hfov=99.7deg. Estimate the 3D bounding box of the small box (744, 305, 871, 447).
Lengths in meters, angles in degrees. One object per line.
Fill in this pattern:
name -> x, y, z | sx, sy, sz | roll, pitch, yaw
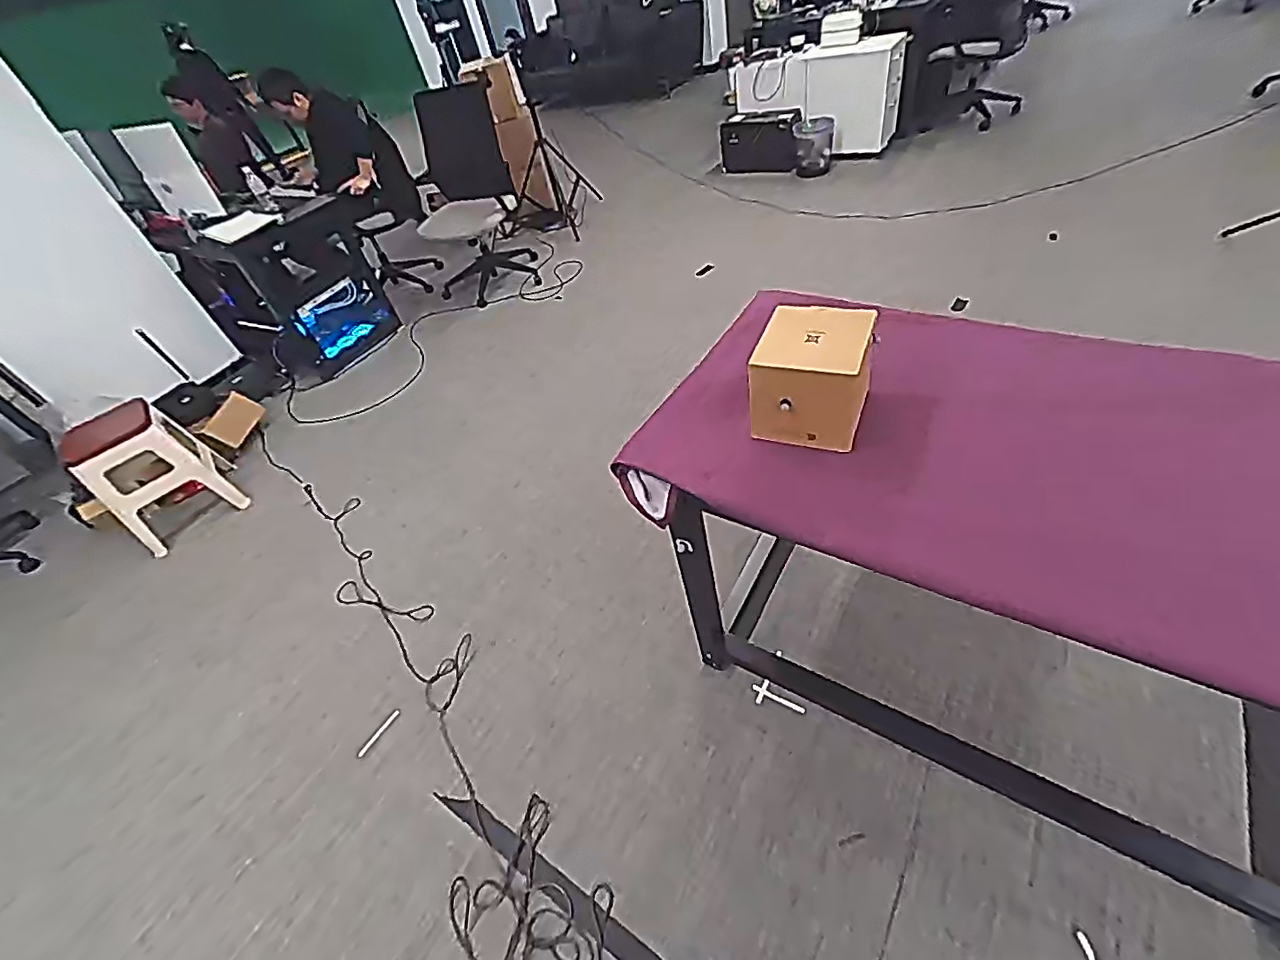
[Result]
small box -> 0.288, -0.178, 0.923 | 0.168, 0.176, 0.179 | 11, 51, 25
